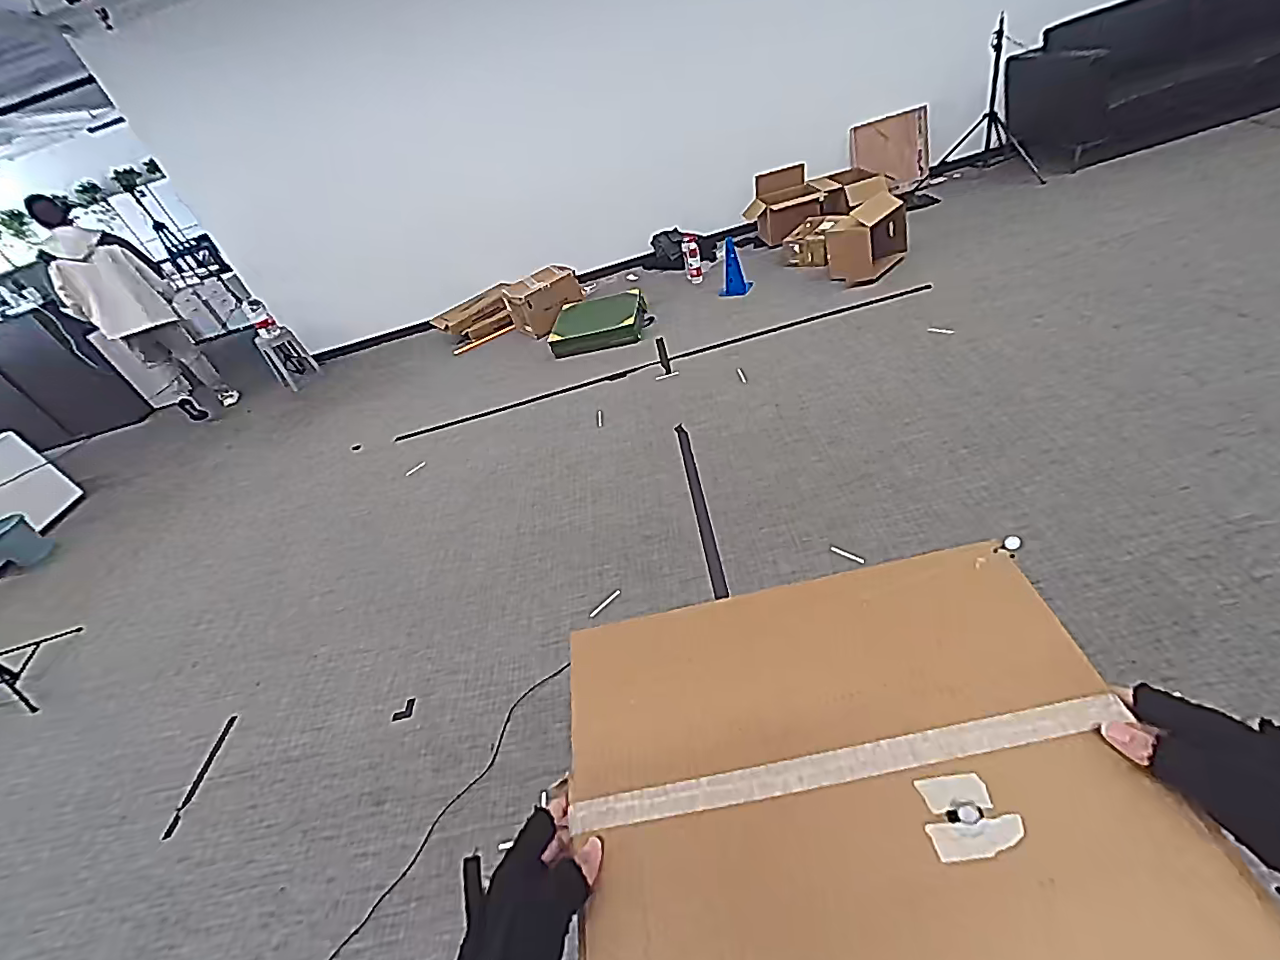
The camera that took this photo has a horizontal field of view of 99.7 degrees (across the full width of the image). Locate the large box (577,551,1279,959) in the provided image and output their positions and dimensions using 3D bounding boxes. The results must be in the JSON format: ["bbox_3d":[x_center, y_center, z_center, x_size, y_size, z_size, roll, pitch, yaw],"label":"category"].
[{"bbox_3d":[0.180,0.320,0.510,0.408,0.320,0.320,-14,45,3],"label":"large box"}]
